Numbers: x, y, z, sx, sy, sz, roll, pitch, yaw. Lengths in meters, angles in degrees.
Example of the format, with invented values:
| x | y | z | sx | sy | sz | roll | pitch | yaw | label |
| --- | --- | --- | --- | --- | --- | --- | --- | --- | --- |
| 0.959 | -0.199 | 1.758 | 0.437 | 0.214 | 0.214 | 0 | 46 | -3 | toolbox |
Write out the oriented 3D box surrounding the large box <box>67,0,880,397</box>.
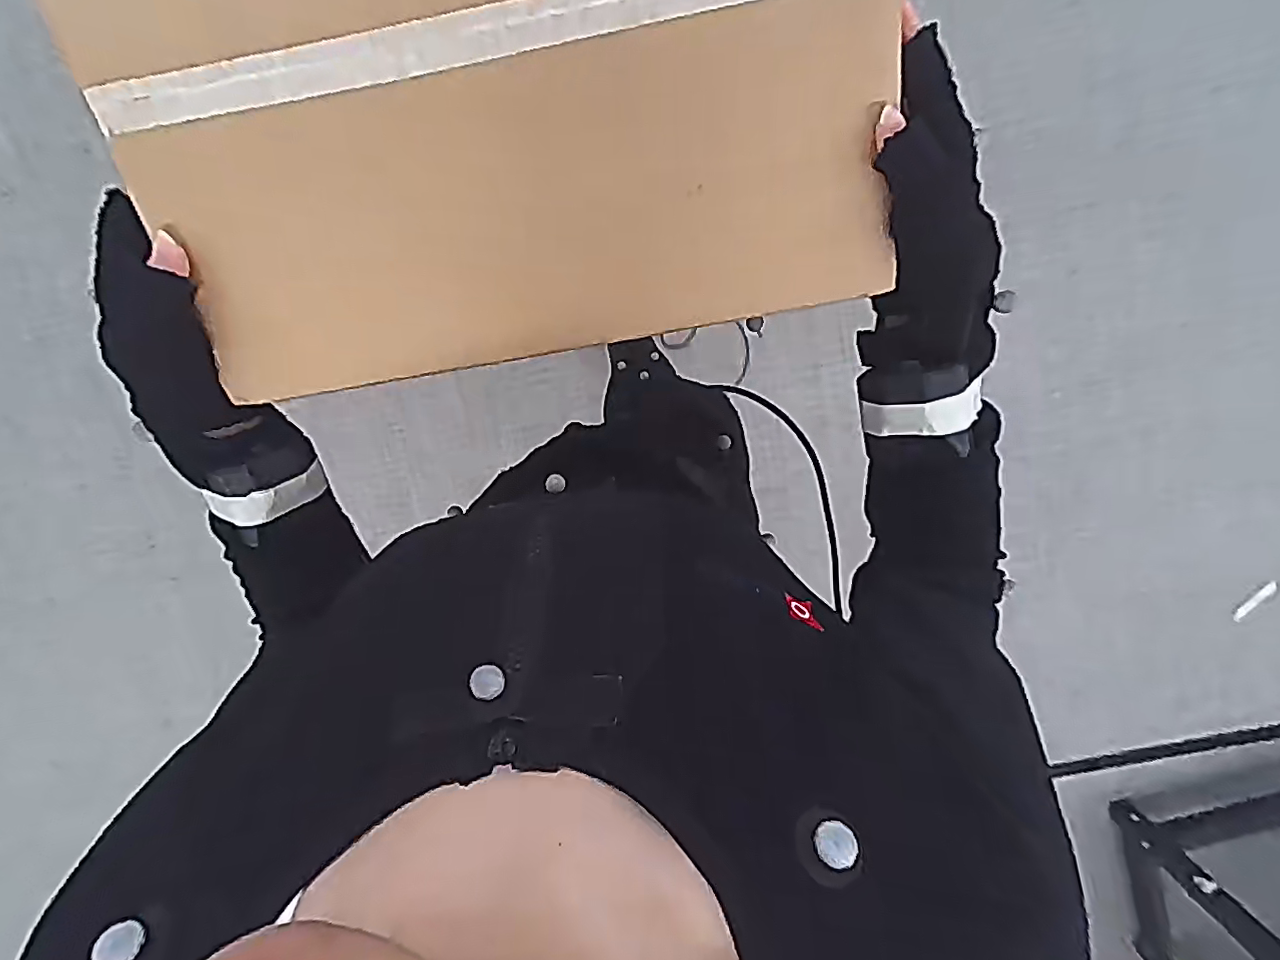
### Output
| x | y | z | sx | sy | sz | roll | pitch | yaw | label |
| --- | --- | --- | --- | --- | --- | --- | --- | --- | --- |
| -0.079 | -0.283 | 0.413 | 0.408 | 0.320 | 0.320 | -10 | 111 | 3 | large box |
